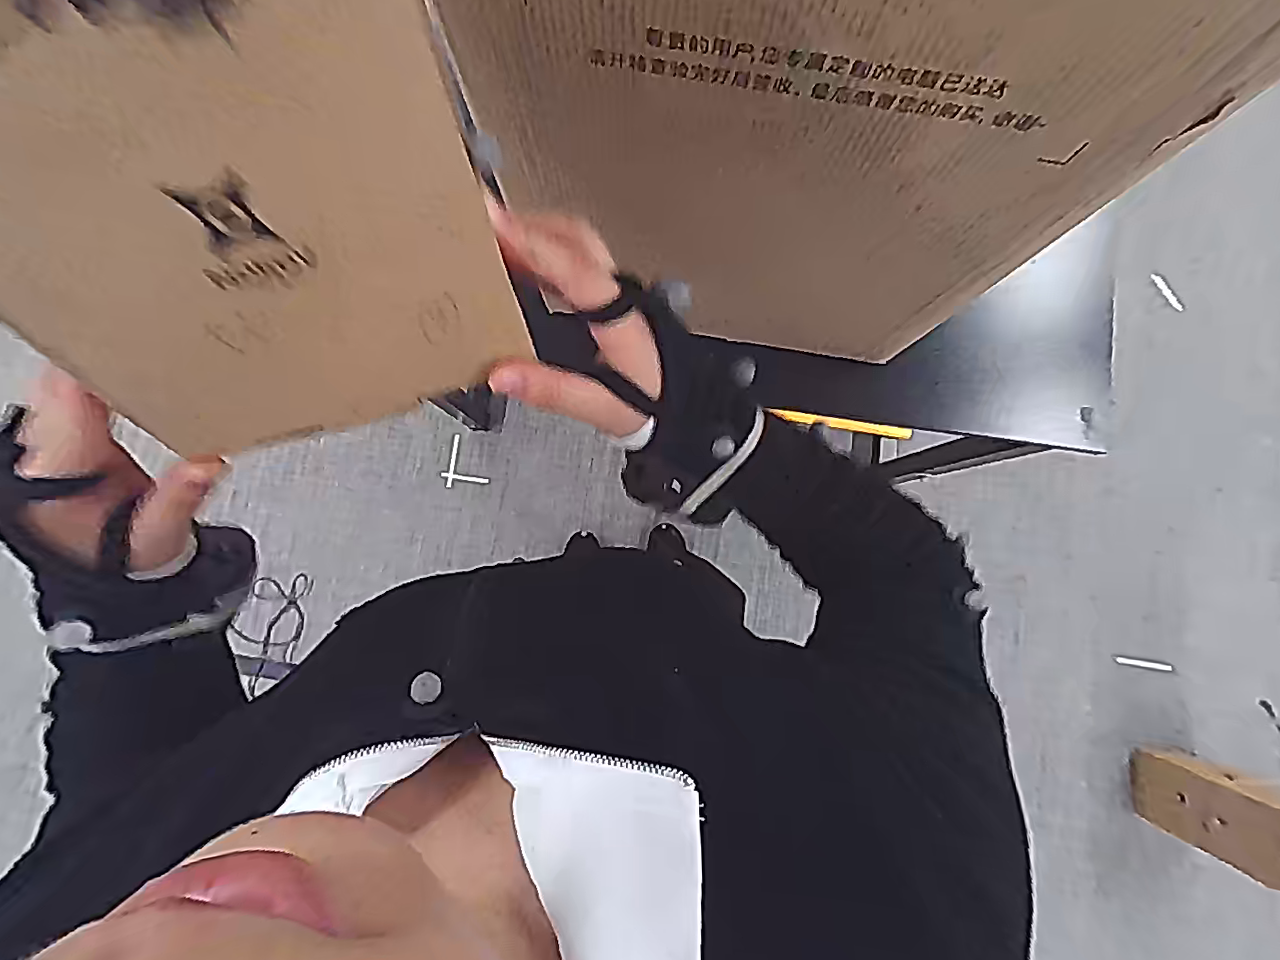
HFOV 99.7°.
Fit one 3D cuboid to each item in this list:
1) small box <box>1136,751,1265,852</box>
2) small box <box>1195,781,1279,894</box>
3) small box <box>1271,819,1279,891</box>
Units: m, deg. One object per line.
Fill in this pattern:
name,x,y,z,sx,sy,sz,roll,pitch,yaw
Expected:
small box,1.412,0.811,1.369,0.168,0.176,0.179,5,84,0
small box,1.413,0.798,1.205,0.179,0.176,0.168,9,84,1
small box,1.408,0.779,1.044,0.179,0.176,0.168,14,83,2
